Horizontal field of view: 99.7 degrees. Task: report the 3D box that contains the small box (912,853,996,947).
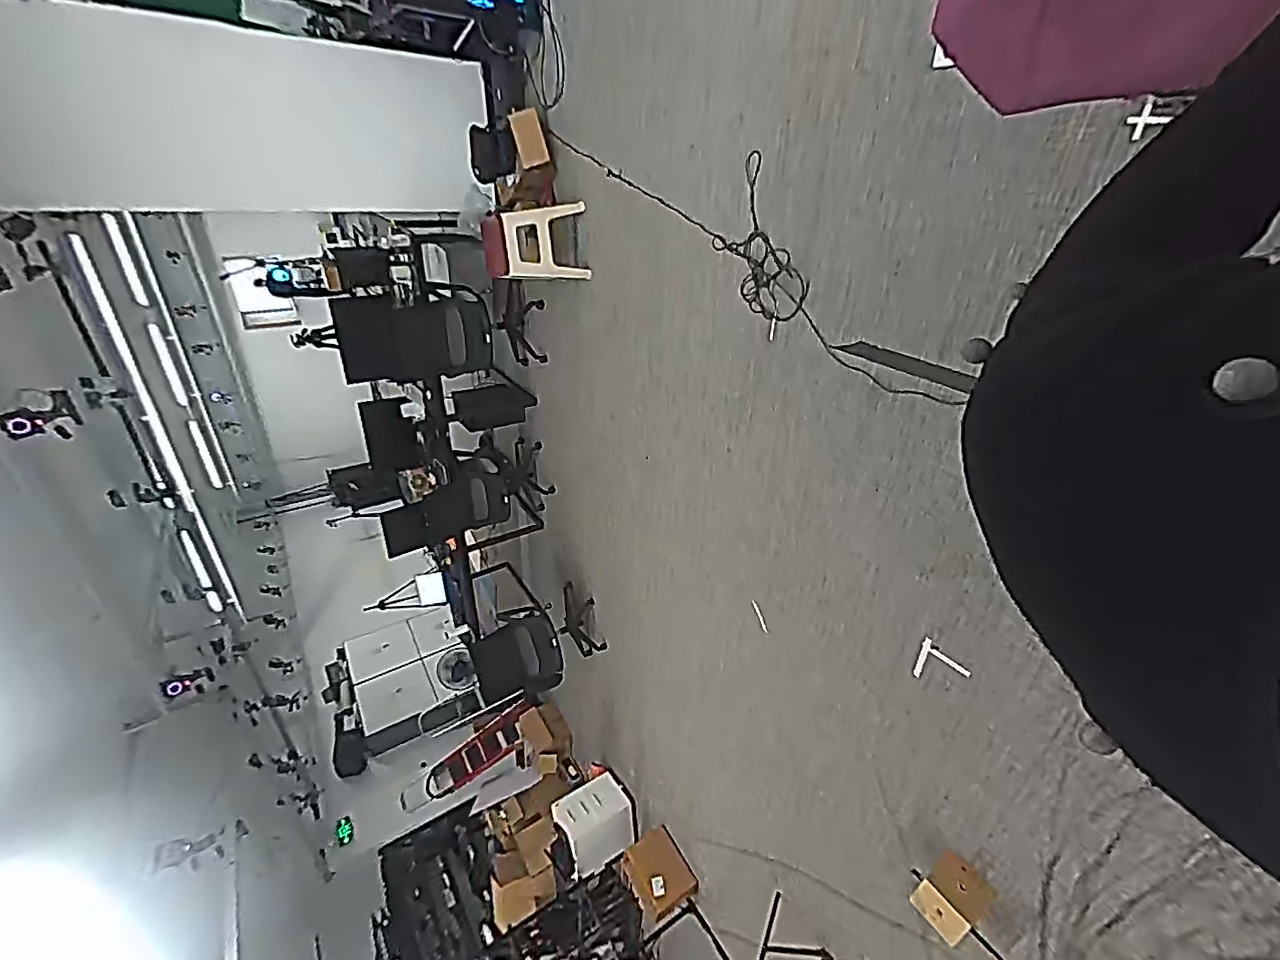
[{"bbox_3d":[1.084,1.438,1.863,0.168,0.176,0.179,41,138,44],"label":"small box"}]
